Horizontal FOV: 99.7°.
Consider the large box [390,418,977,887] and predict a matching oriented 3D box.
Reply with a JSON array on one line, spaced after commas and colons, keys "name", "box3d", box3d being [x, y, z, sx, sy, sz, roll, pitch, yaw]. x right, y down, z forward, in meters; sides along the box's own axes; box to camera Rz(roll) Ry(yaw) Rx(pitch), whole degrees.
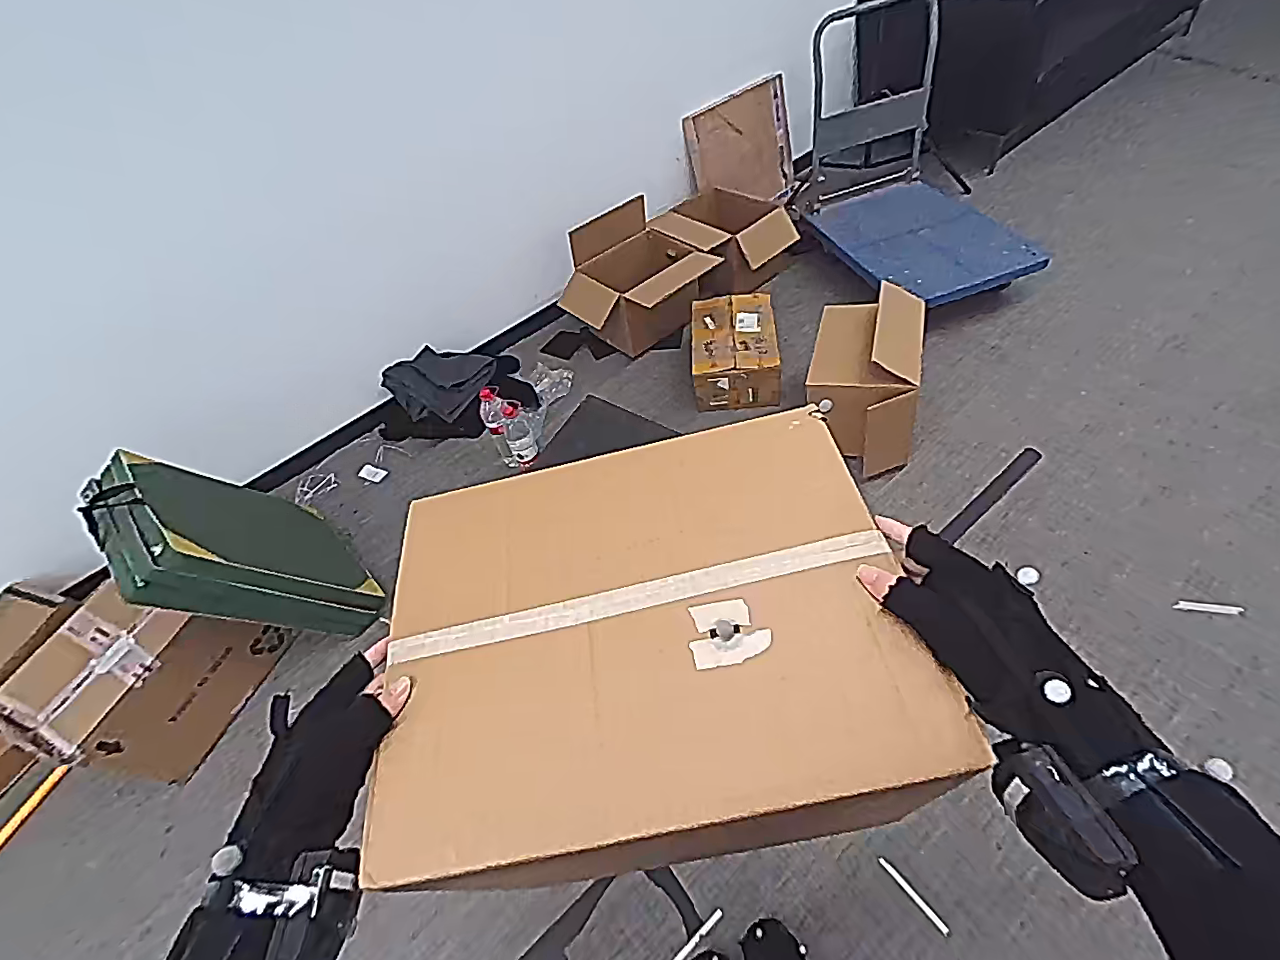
[{"name": "large box", "box3d": [0.027, 0.191, 0.558, 0.408, 0.320, 0.320, -13, 52, 3]}]
